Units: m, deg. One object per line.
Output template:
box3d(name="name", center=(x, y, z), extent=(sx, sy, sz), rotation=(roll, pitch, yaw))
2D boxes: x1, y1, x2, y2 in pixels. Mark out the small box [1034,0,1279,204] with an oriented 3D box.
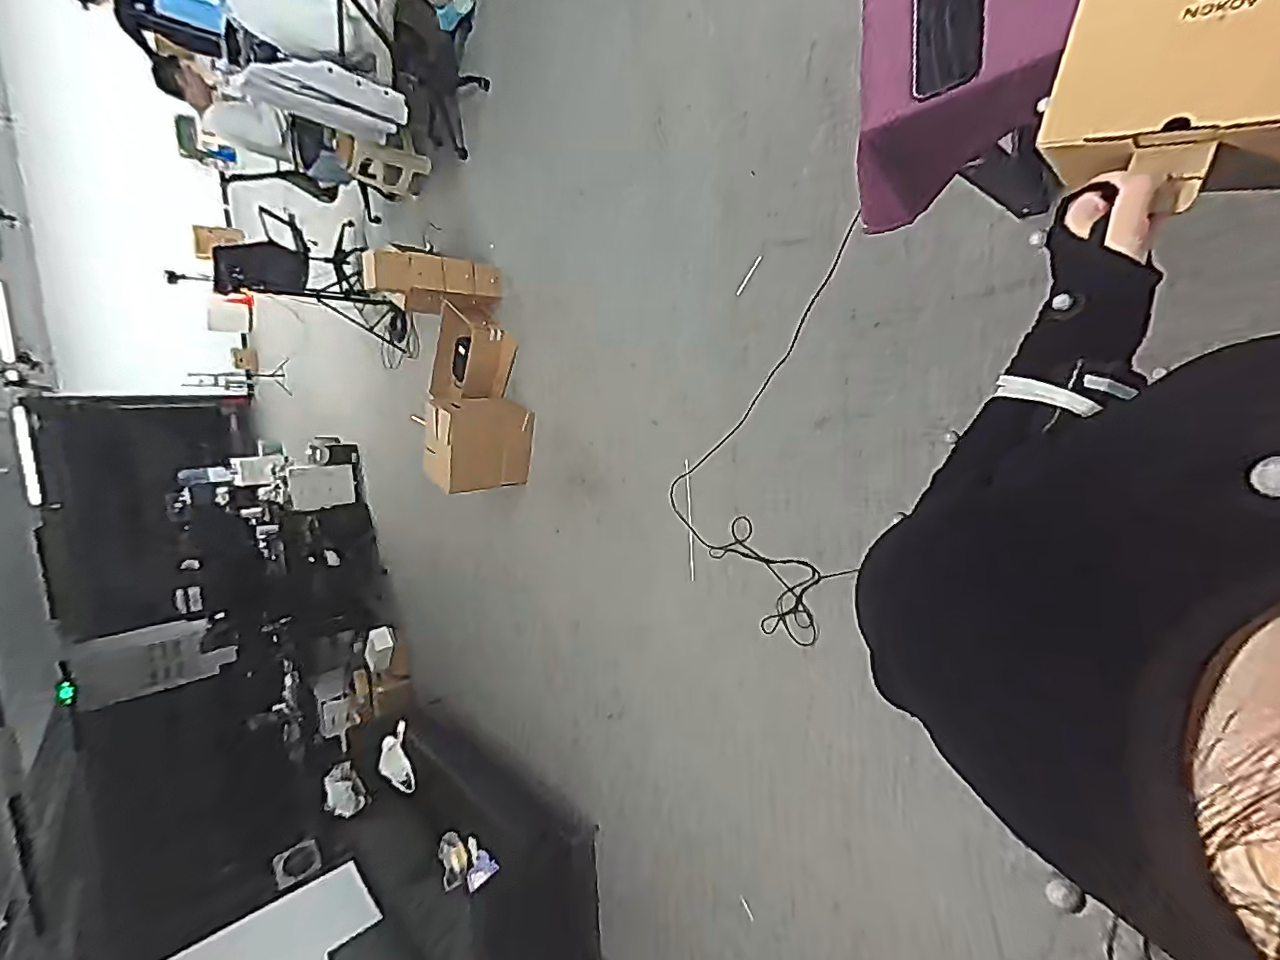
box3d(name="small box", center=(0.443, -0.330, 0.419), extent=(0.168, 0.176, 0.179), rotation=(23, 114, 42))
